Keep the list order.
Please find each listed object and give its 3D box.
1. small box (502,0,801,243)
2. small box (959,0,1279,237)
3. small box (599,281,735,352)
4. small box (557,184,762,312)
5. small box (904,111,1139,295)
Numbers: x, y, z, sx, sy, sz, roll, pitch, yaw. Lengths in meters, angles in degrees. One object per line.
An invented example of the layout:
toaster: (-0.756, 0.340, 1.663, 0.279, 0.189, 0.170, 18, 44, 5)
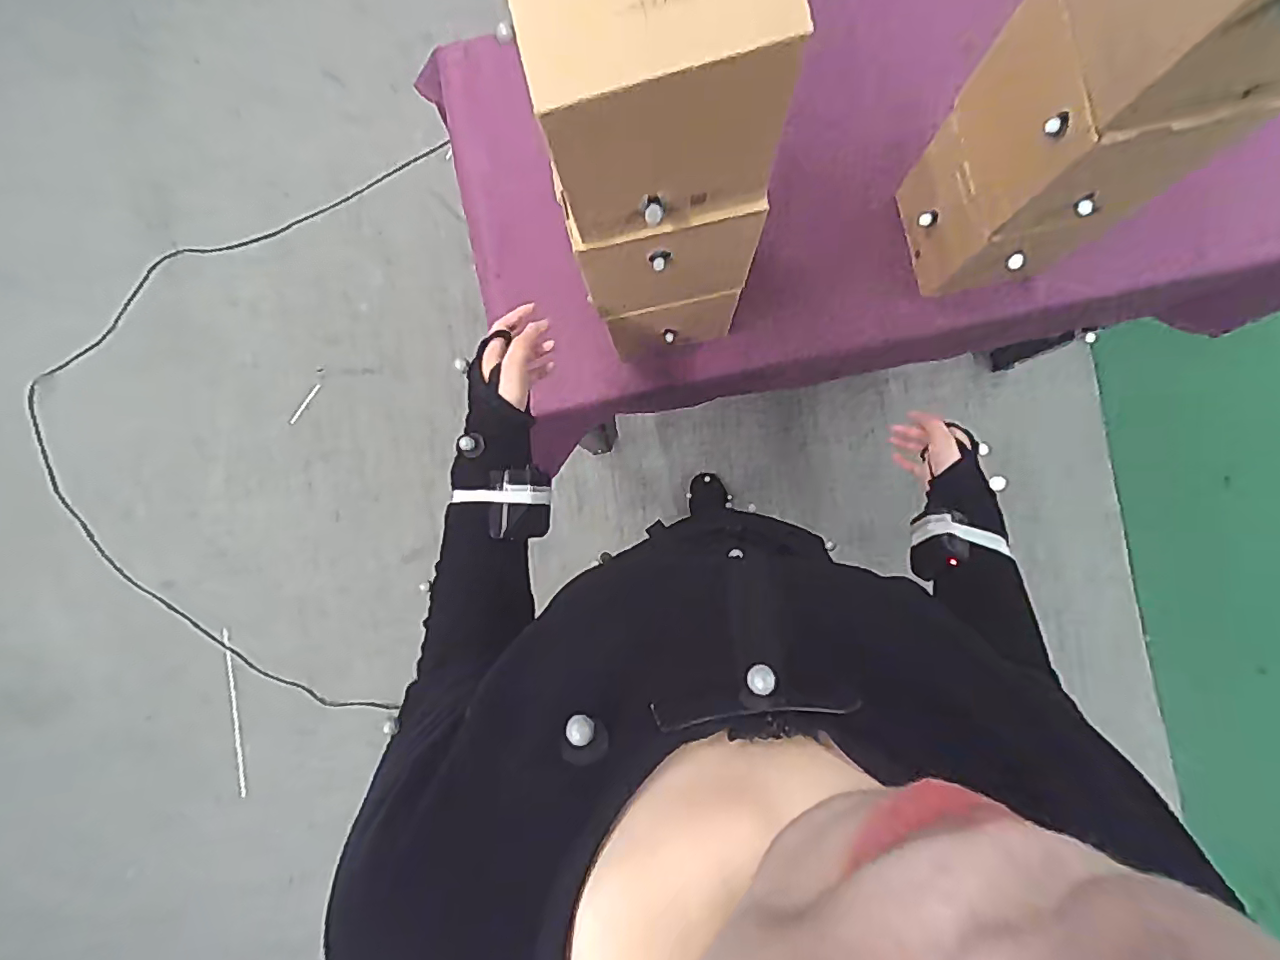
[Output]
small box: (-0.001, -0.309, 0.394, 0.168, 0.176, 0.179, -13, 87, 3)
small box: (0.449, -0.375, 0.533, 0.168, 0.176, 0.179, -11, 87, 3)
small box: (0.024, -0.282, 0.719, 0.168, 0.176, 0.179, -11, 86, 3)
small box: (0.012, -0.291, 0.555, 0.179, 0.176, 0.168, -11, 86, 2)
small box: (0.464, -0.359, 0.695, 0.179, 0.176, 0.168, -12, 86, 4)
